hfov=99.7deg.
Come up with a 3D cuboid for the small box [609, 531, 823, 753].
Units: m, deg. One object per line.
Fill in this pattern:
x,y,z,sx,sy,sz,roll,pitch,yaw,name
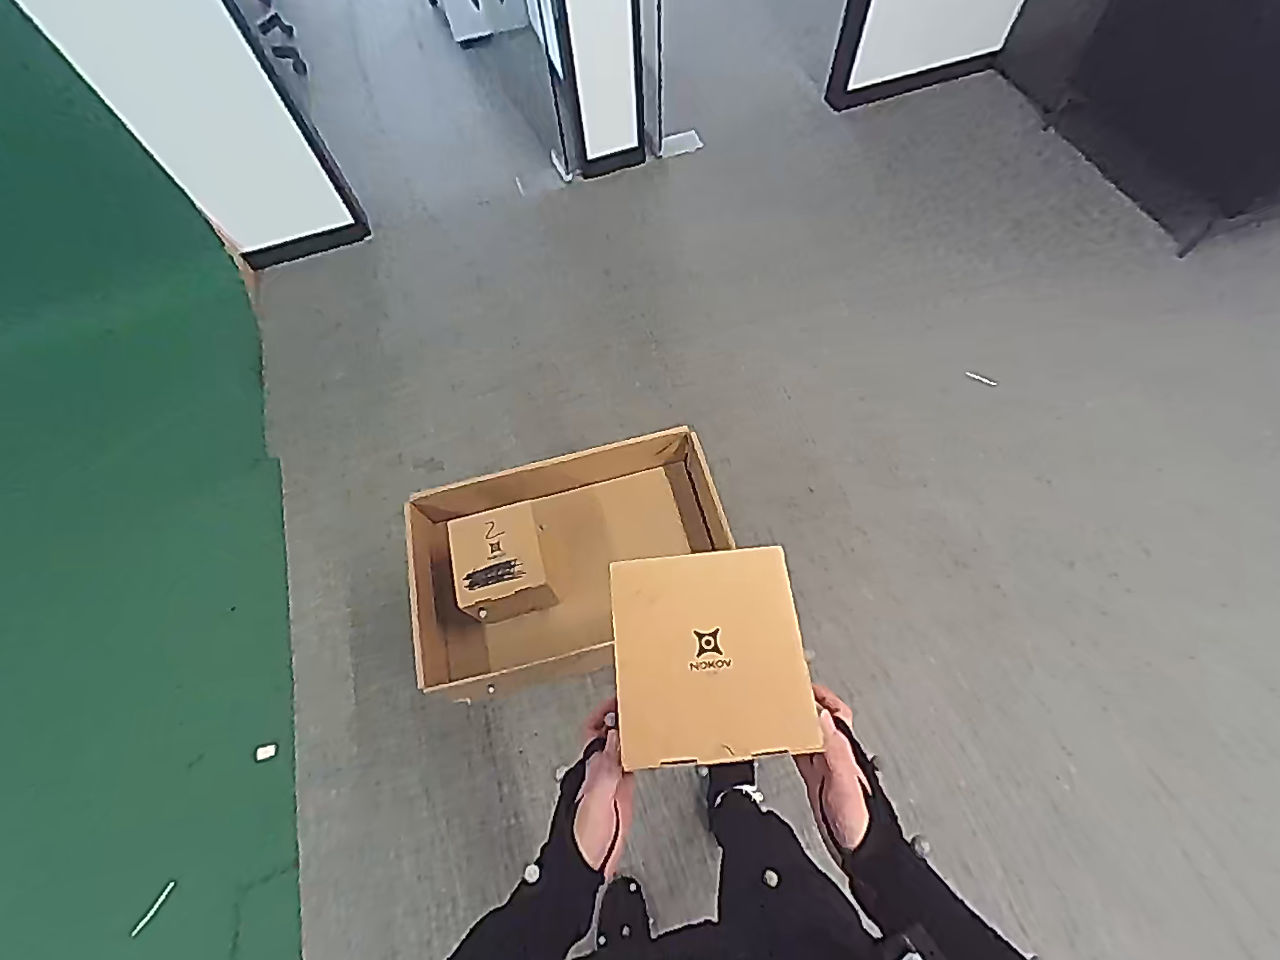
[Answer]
0.060,0.167,0.536,0.168,0.176,0.179,-6,64,0,small box
